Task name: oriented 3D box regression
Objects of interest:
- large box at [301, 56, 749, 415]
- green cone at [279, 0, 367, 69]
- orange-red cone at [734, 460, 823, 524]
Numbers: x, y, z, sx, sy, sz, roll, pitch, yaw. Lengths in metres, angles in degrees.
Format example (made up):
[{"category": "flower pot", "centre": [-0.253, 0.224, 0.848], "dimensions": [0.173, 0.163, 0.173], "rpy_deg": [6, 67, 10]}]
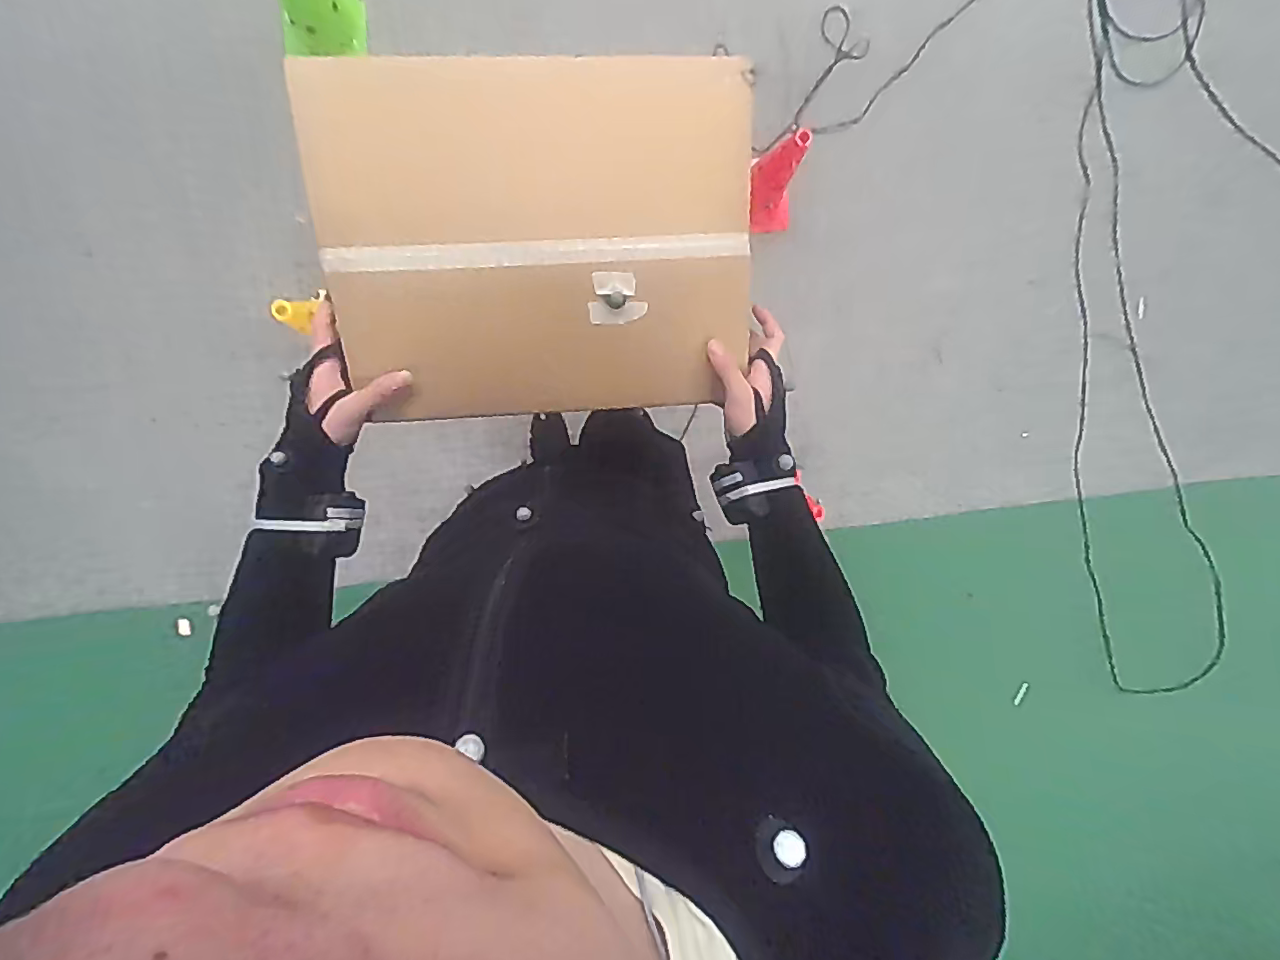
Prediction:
[{"category": "large box", "centre": [-0.107, -0.273, 0.667], "dimensions": [0.408, 0.320, 0.320], "rpy_deg": [-4, 109, -6]}, {"category": "green cone", "centre": [-0.786, -1.127, 1.209], "dimensions": [0.200, 0.368, 0.202], "rpy_deg": [0, 100, -6]}, {"category": "orange-red cone", "centre": [0.420, 0.063, 1.523], "dimensions": [0.199, 0.360, 0.198], "rpy_deg": [1, 99, -8]}]
